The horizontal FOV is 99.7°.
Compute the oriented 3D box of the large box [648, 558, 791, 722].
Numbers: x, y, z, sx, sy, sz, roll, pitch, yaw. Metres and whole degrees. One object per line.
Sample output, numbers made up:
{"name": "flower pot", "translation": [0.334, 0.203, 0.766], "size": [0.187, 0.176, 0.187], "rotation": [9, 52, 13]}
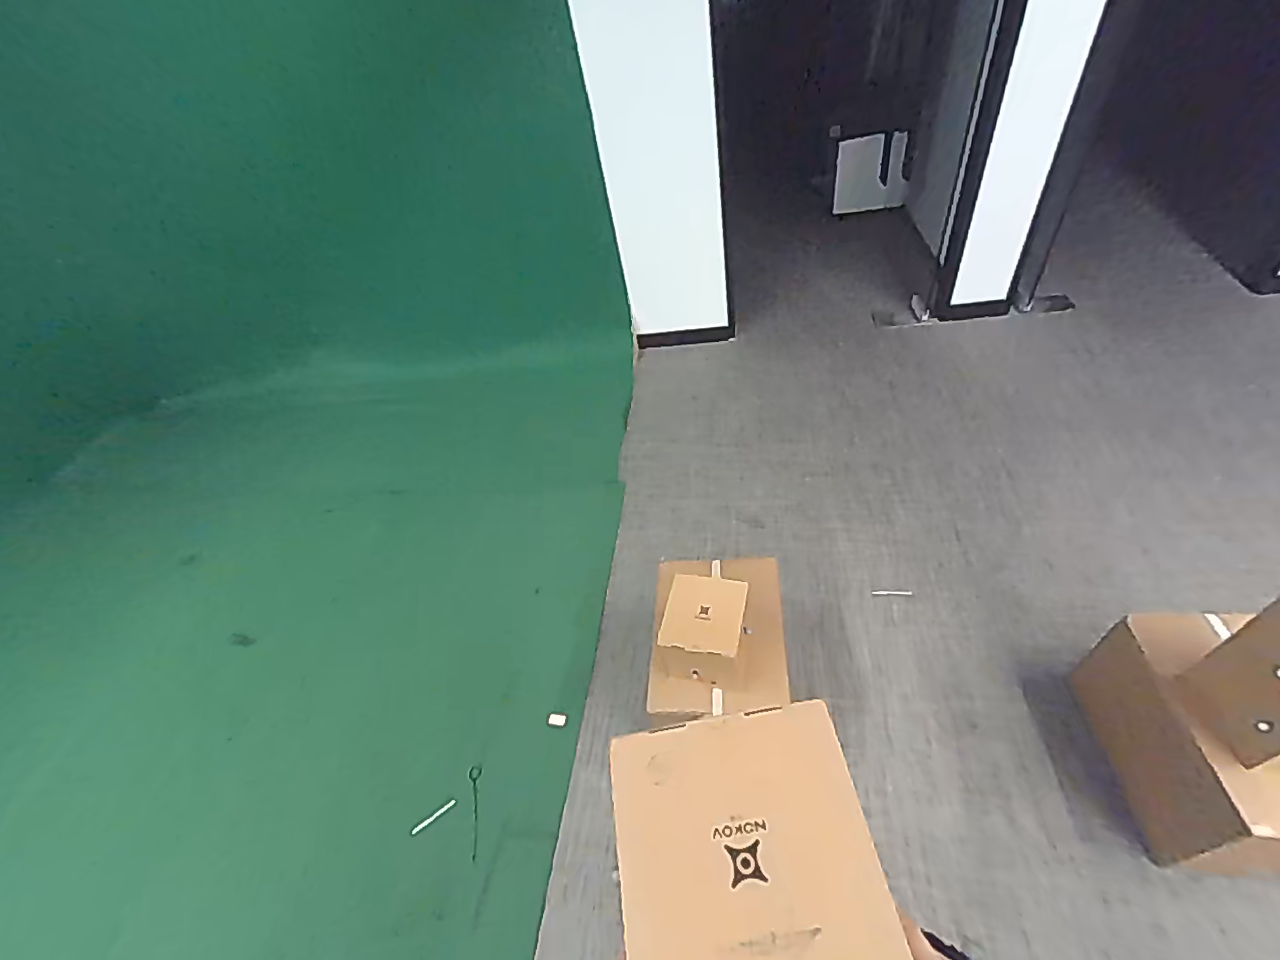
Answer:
{"name": "large box", "translation": [0.212, 0.461, 1.400], "size": [0.320, 0.320, 0.408], "rotation": [-4, 45, 11]}

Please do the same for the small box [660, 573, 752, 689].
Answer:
{"name": "small box", "translation": [0.153, 0.332, 1.193], "size": [0.168, 0.176, 0.179], "rotation": [3, 49, 19]}

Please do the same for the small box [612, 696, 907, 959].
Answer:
{"name": "small box", "translation": [0.079, 0.292, 0.417], "size": [0.168, 0.176, 0.179], "rotation": [-12, 50, 3]}

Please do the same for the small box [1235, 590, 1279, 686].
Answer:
{"name": "small box", "translation": [1.088, 0.254, 0.810], "size": [0.168, 0.176, 0.179], "rotation": [-10, 46, 6]}
